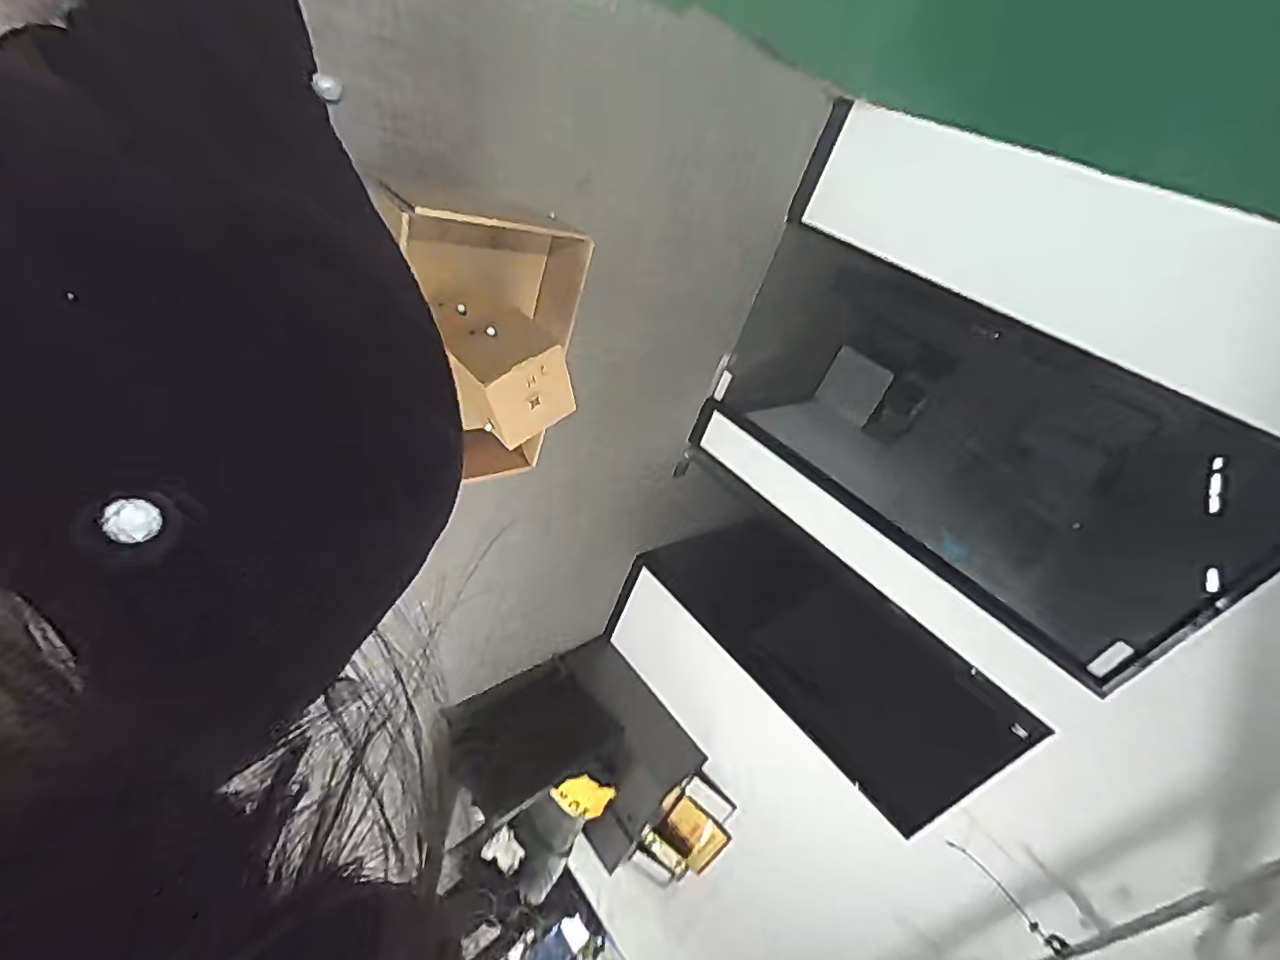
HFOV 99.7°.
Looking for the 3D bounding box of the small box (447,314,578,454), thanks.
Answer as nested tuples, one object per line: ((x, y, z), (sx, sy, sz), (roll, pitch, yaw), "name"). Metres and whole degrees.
((-0.245, -0.191, 1.059), (0.168, 0.176, 0.179), (-35, 147, -20), "small box")
